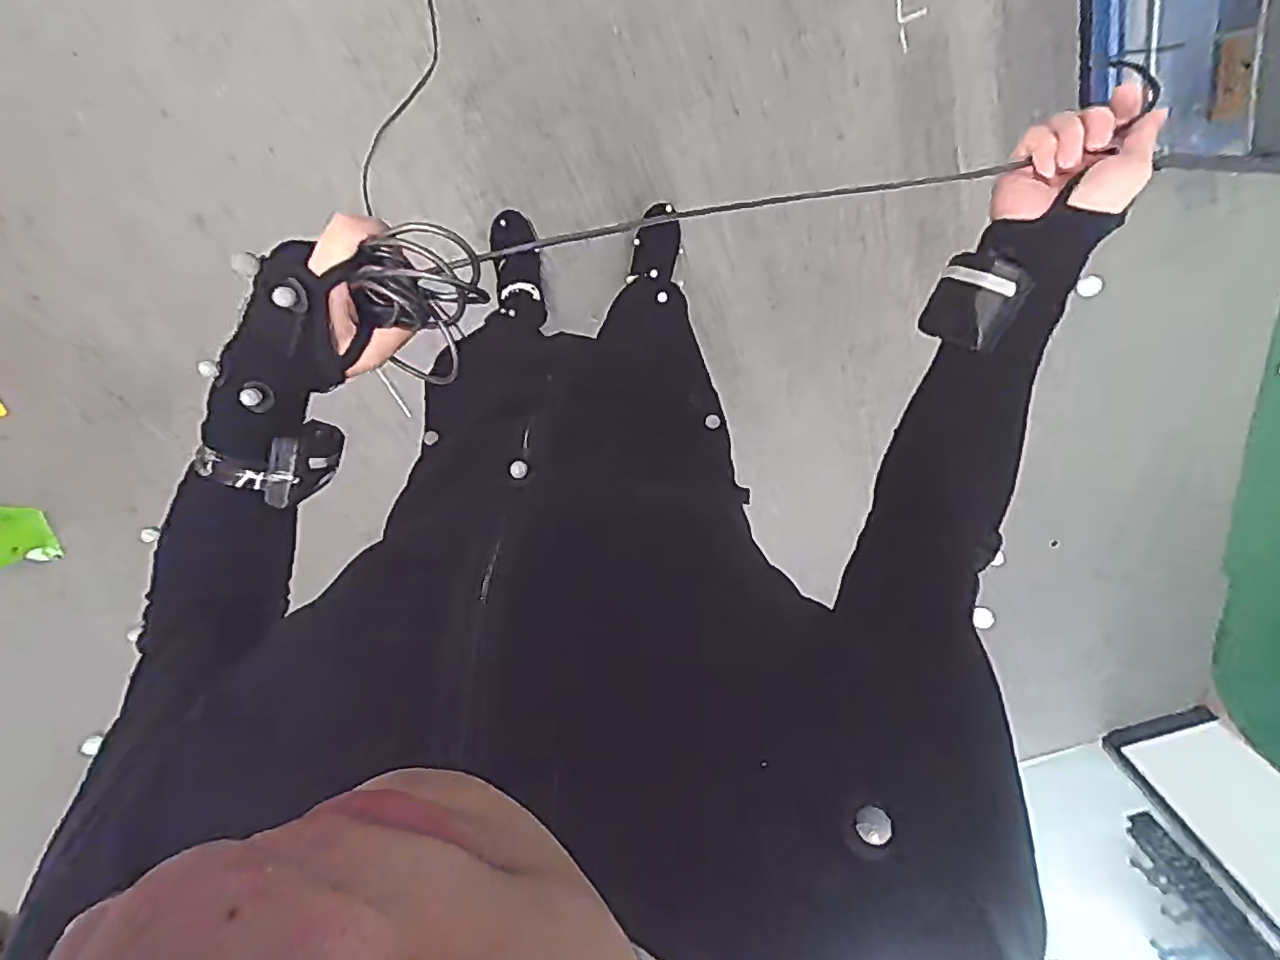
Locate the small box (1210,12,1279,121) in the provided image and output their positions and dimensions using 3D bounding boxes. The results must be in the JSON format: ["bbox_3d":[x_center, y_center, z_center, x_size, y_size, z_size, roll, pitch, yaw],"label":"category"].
[{"bbox_3d":[1.311,-0.838,1.069,0.179,0.176,0.168,-19,120,9],"label":"small box"}]
